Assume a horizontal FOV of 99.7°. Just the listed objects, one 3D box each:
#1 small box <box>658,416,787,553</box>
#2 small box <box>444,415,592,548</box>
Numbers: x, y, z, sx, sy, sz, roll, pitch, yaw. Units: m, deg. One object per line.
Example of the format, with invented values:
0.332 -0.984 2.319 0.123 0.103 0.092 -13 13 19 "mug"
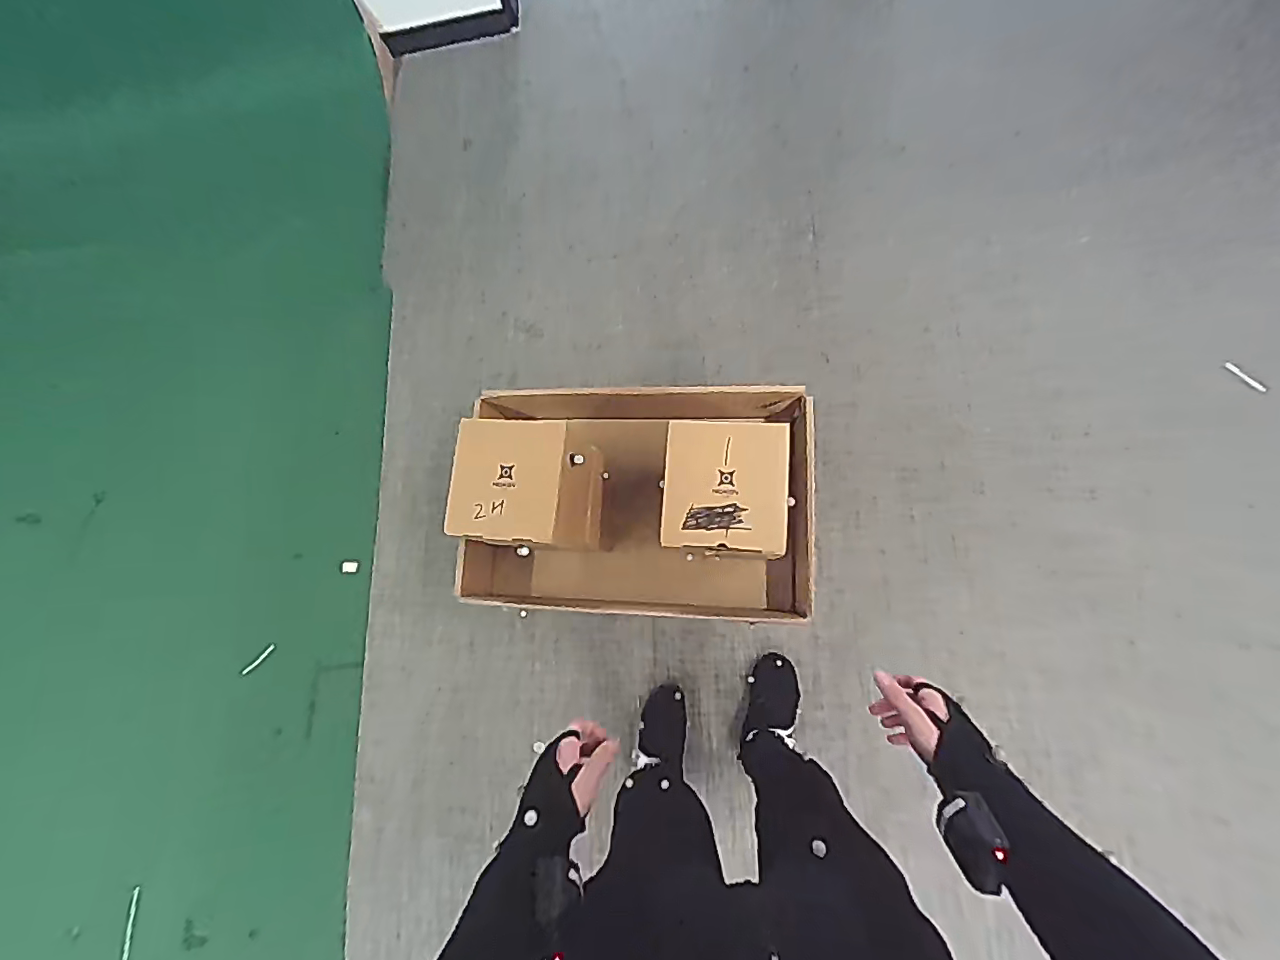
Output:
0.123 0.014 0.795 0.168 0.176 0.179 2 80 10 "small box"
-0.178 0.009 0.847 0.168 0.176 0.179 3 80 11 "small box"
